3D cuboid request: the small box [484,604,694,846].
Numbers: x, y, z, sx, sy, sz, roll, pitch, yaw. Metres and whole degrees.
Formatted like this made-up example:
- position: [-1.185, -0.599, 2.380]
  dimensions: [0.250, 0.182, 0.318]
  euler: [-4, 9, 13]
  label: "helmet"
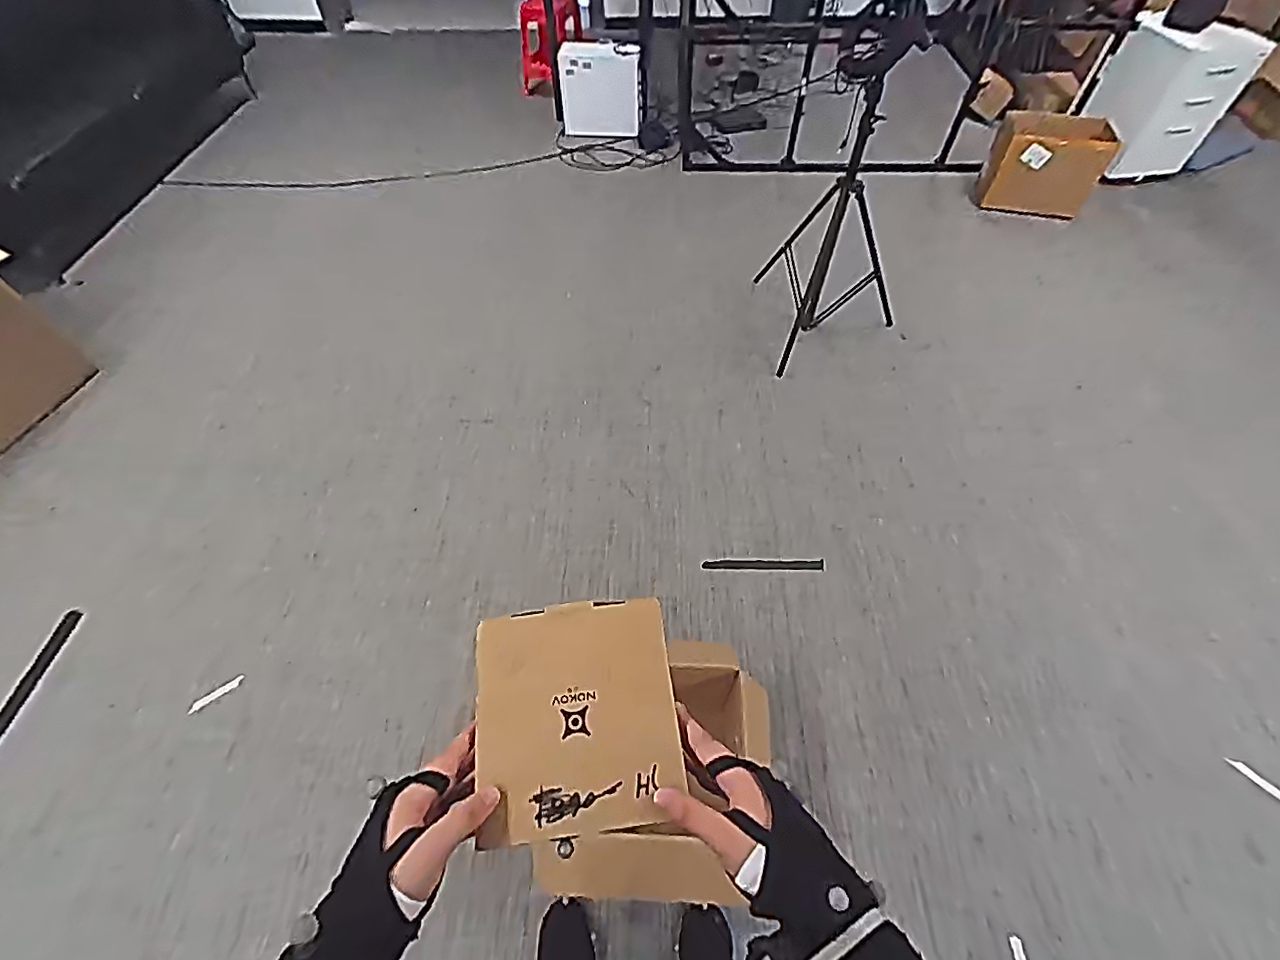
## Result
- position: [-0.047, 0.236, 0.527]
  dimensions: [0.168, 0.176, 0.179]
  euler: [-7, 62, -2]
  label: "small box"
